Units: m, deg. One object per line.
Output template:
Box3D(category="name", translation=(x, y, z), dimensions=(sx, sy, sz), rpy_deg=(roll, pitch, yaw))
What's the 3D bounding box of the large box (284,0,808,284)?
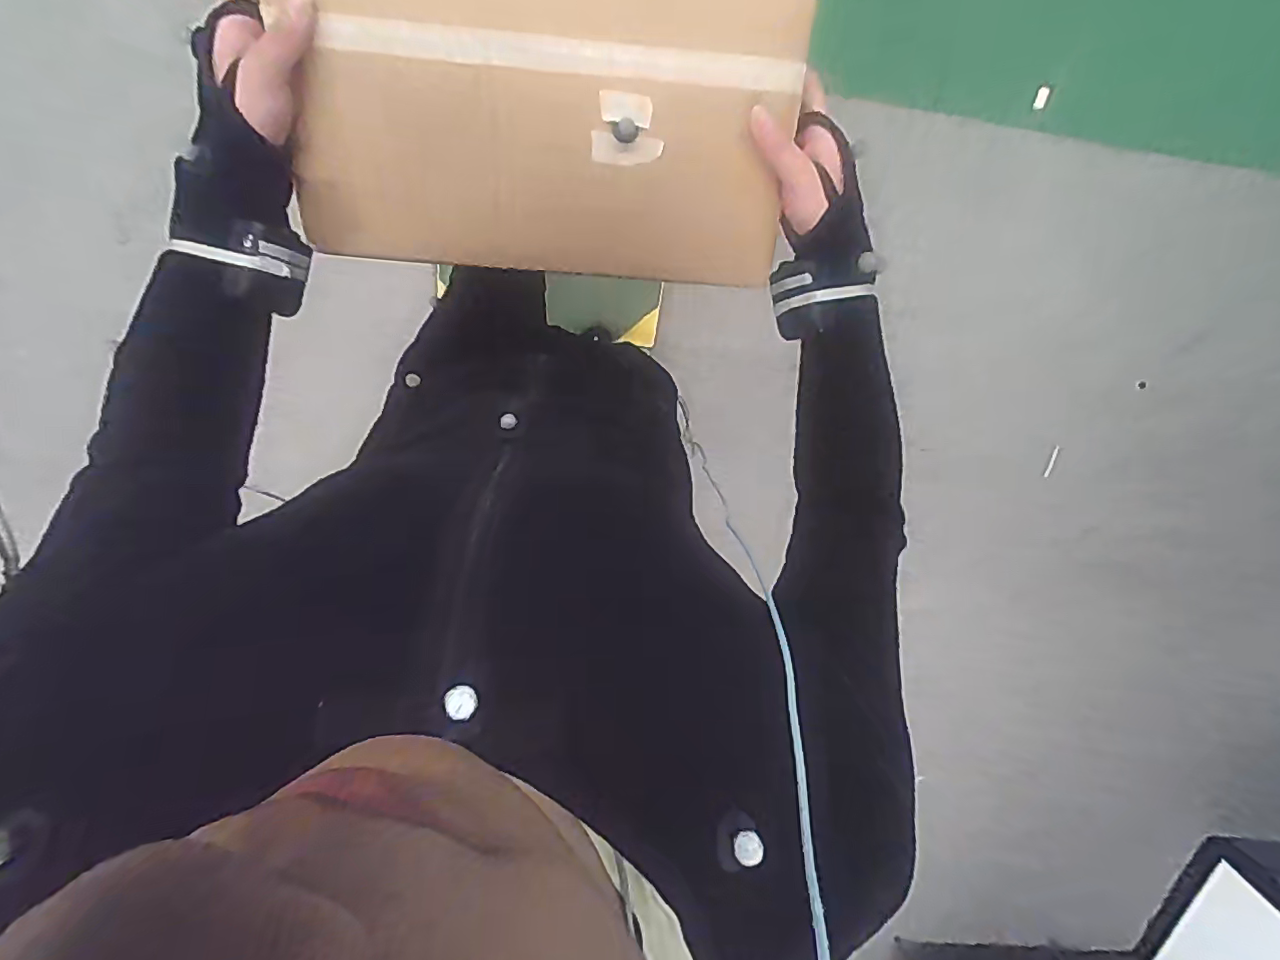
Box3D(category="large box", translation=(-0.079, -0.393, 0.562), dimensions=(0.408, 0.320, 0.320), rpy_deg=(3, 117, -4))
